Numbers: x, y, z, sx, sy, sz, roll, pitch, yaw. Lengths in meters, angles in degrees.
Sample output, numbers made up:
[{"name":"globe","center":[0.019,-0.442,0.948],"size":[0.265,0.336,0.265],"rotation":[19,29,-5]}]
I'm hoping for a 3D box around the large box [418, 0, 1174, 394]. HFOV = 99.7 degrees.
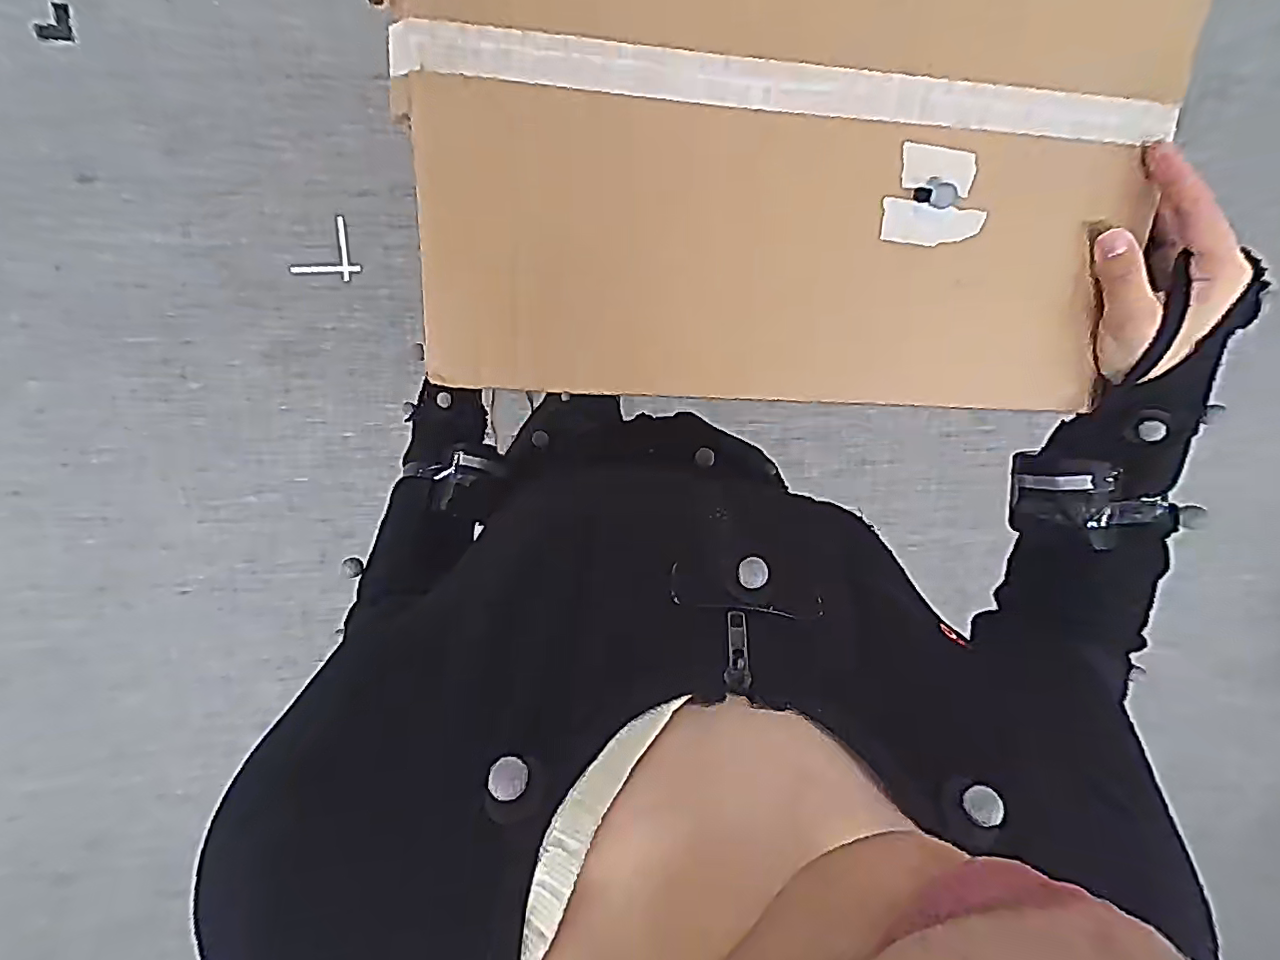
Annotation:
[{"name":"large box","center":[0.070,-0.243,0.429],"size":[0.408,0.320,0.320],"rotation":[0,106,-8]}]
